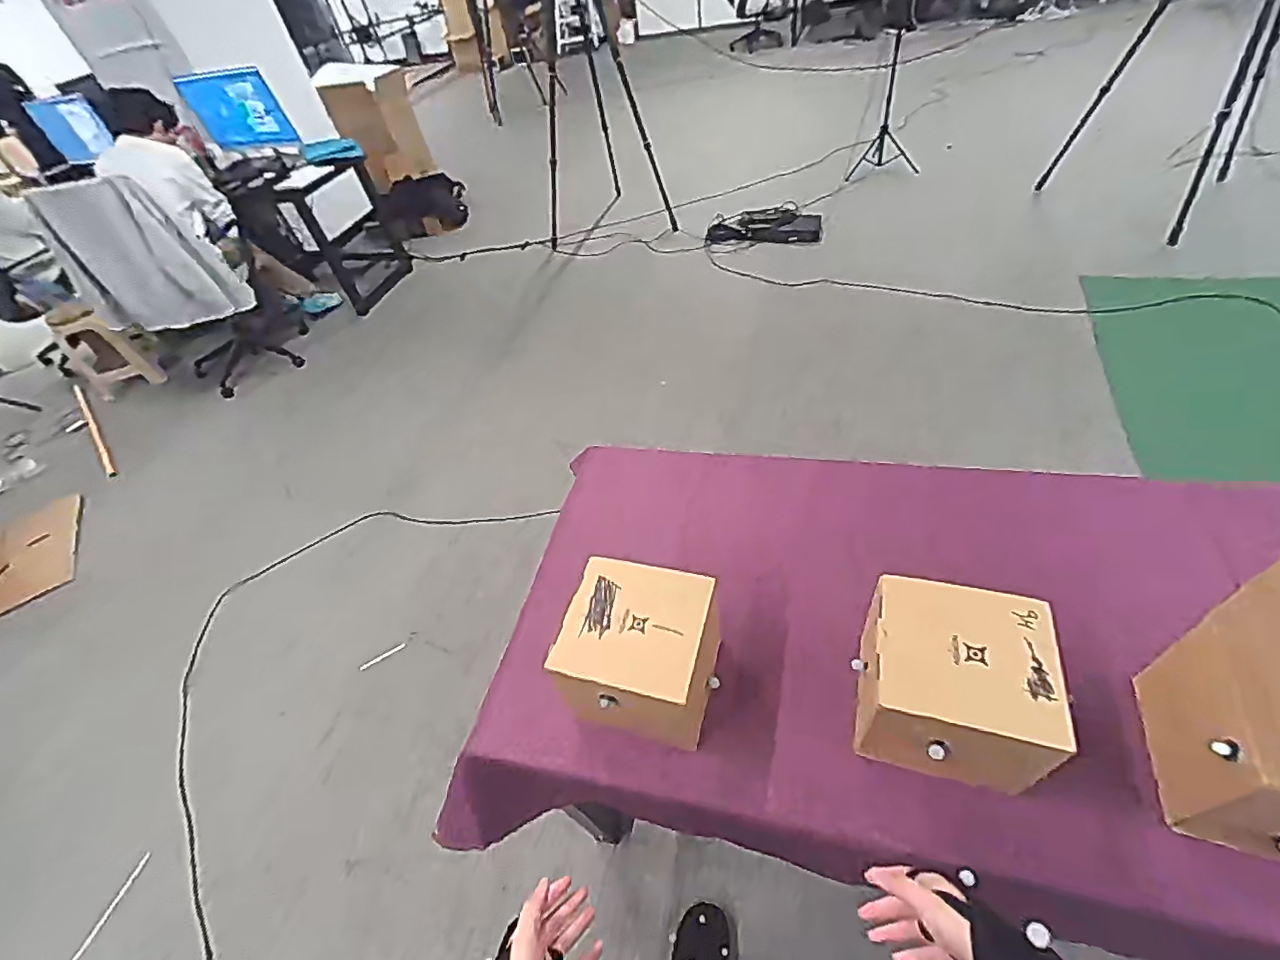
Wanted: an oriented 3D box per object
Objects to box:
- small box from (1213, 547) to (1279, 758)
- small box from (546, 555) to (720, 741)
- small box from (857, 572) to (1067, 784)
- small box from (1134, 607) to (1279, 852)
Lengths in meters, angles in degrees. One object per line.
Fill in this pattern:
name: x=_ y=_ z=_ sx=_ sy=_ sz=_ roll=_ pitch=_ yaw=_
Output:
small box: x=0.632 y=0.152 z=0.432 sx=0.168 sy=0.176 sz=0.179 roll=8 pitch=50 yaw=18
small box: x=0.004 y=0.226 z=0.725 sx=0.179 sy=0.176 sz=0.168 roll=8 pitch=50 yaw=18
small box: x=0.360 y=0.235 z=0.641 sx=0.179 sy=0.176 sz=0.168 roll=7 pitch=50 yaw=19
small box: x=0.657 y=0.262 z=0.553 sx=0.168 sy=0.176 sz=0.179 roll=8 pitch=51 yaw=19
